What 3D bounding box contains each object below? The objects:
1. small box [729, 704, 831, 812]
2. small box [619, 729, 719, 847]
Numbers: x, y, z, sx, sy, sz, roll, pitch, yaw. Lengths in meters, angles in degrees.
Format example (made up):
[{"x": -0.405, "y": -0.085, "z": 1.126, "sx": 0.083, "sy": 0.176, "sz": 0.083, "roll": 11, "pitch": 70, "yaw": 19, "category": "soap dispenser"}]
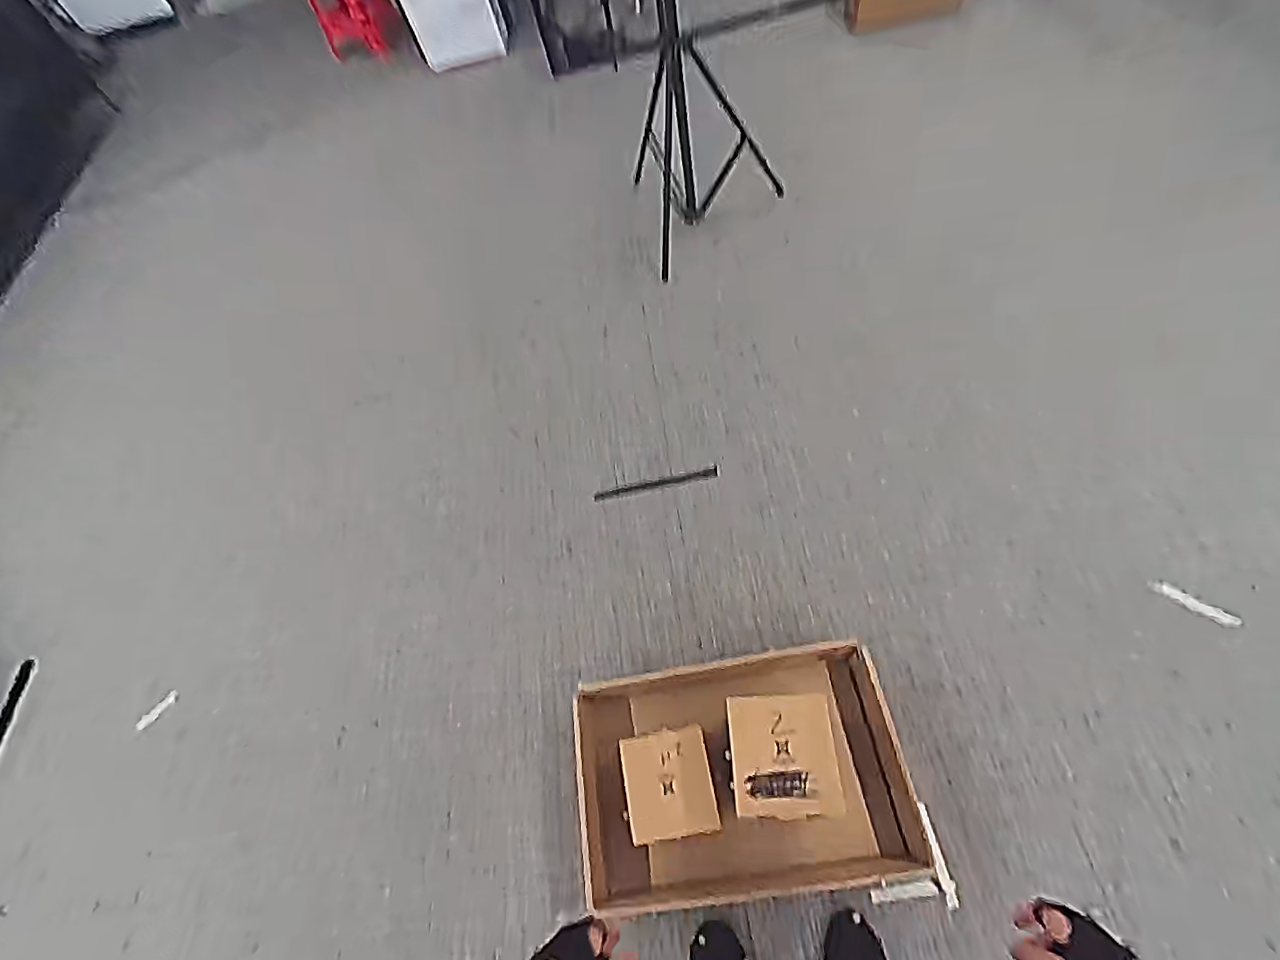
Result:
[{"x": 0.272, "y": 0.555, "z": 1.079, "sx": 0.168, "sy": 0.176, "sz": 0.179, "roll": -8, "pitch": 62, "yaw": 9, "category": "small box"}, {"x": 0.062, "y": 0.612, "z": 1.086, "sx": 0.168, "sy": 0.176, "sz": 0.179, "roll": -12, "pitch": 60, "yaw": 2, "category": "small box"}]
